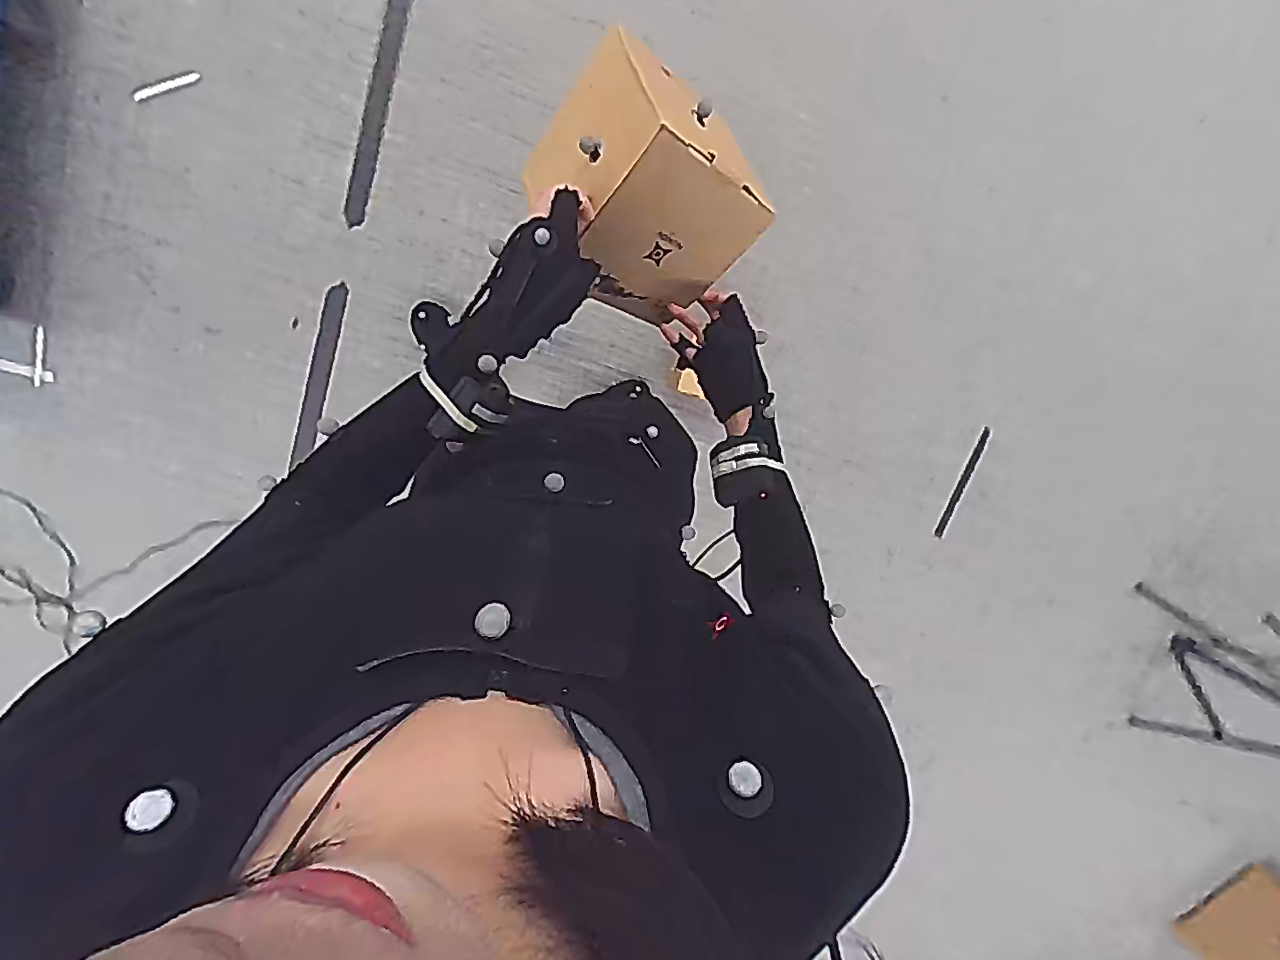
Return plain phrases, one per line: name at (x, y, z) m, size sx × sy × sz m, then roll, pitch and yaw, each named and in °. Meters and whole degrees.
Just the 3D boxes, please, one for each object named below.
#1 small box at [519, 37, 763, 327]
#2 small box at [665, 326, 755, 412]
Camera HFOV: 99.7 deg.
small box at (-0.010, -0.302, 0.570) m, size 0.168 × 0.176 × 0.179 m, roll 10°, pitch 142°, yaw -42°
small box at (0.173, -0.291, 1.408) m, size 0.168 × 0.176 × 0.179 m, roll 14°, pitch 103°, yaw -12°
